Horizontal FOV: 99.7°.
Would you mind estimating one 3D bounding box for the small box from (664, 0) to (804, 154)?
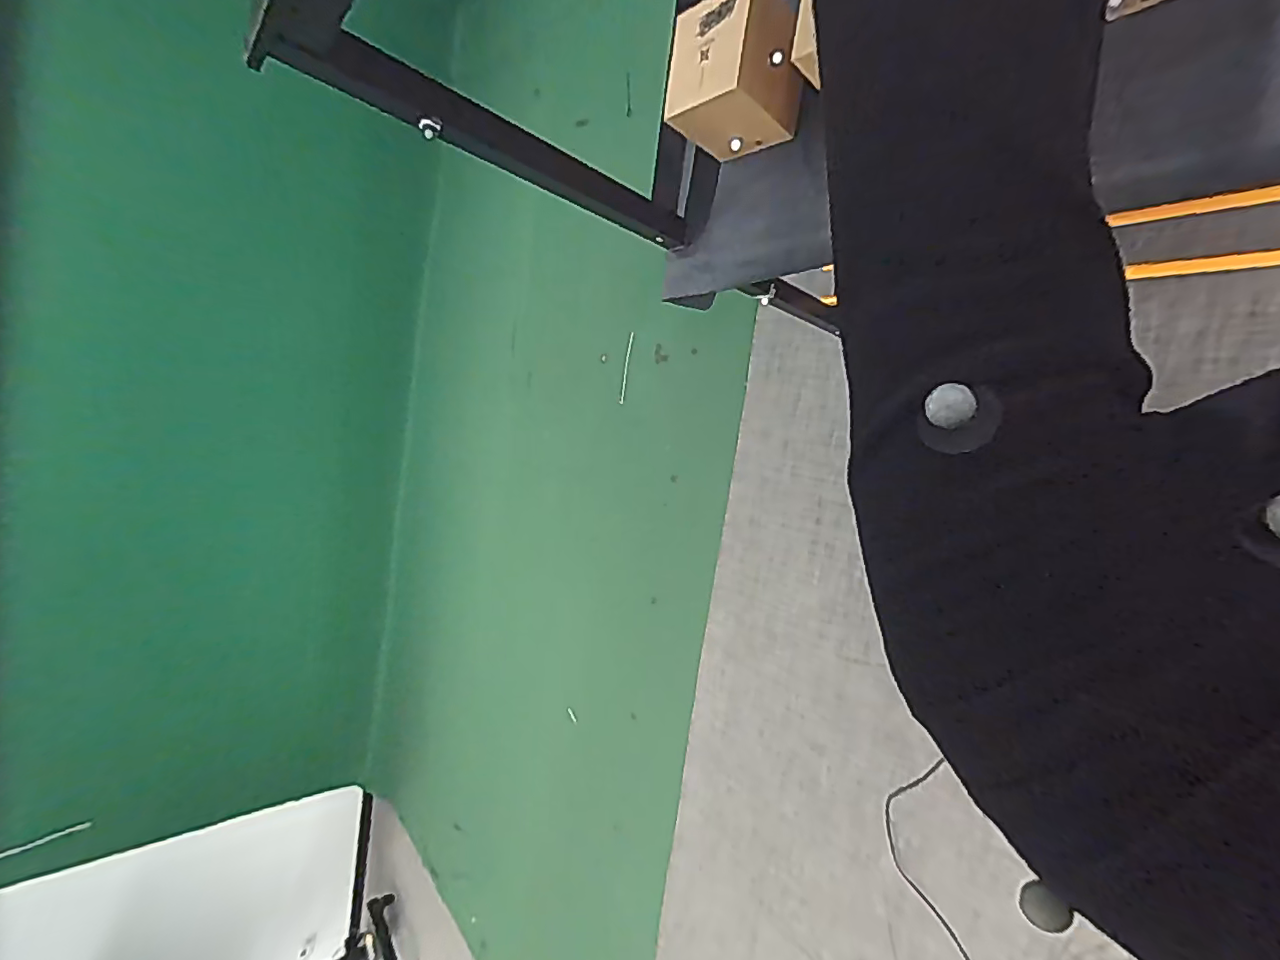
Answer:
[{"bbox_3d":[0.167,-0.708,0.934,0.168,0.176,0.179,14,98,47],"label":"small box"}]
